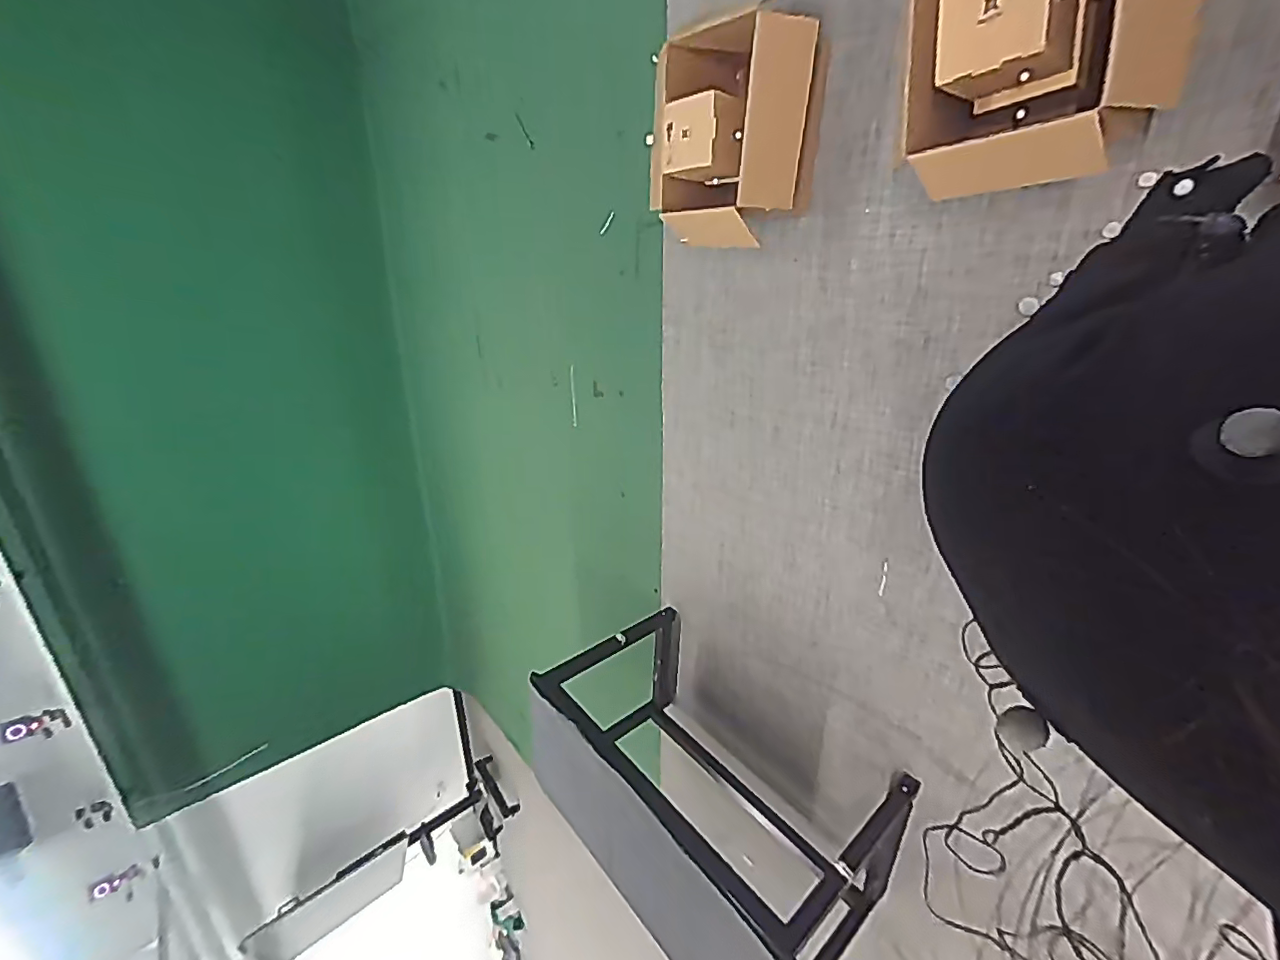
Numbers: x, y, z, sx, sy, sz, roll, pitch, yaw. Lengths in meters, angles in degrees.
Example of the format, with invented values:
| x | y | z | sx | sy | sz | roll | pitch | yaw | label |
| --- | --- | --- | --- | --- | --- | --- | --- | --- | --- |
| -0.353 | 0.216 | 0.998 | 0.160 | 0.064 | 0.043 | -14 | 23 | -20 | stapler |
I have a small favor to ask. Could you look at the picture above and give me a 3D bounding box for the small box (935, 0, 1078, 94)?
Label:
| x | y | z | sx | sy | sz | roll | pitch | yaw | label |
| --- | --- | --- | --- | --- | --- | --- | --- | --- | --- |
| 0.633 | -0.795 | 0.931 | 0.168 | 0.176 | 0.179 | 14 | 116 | 47 | small box |
